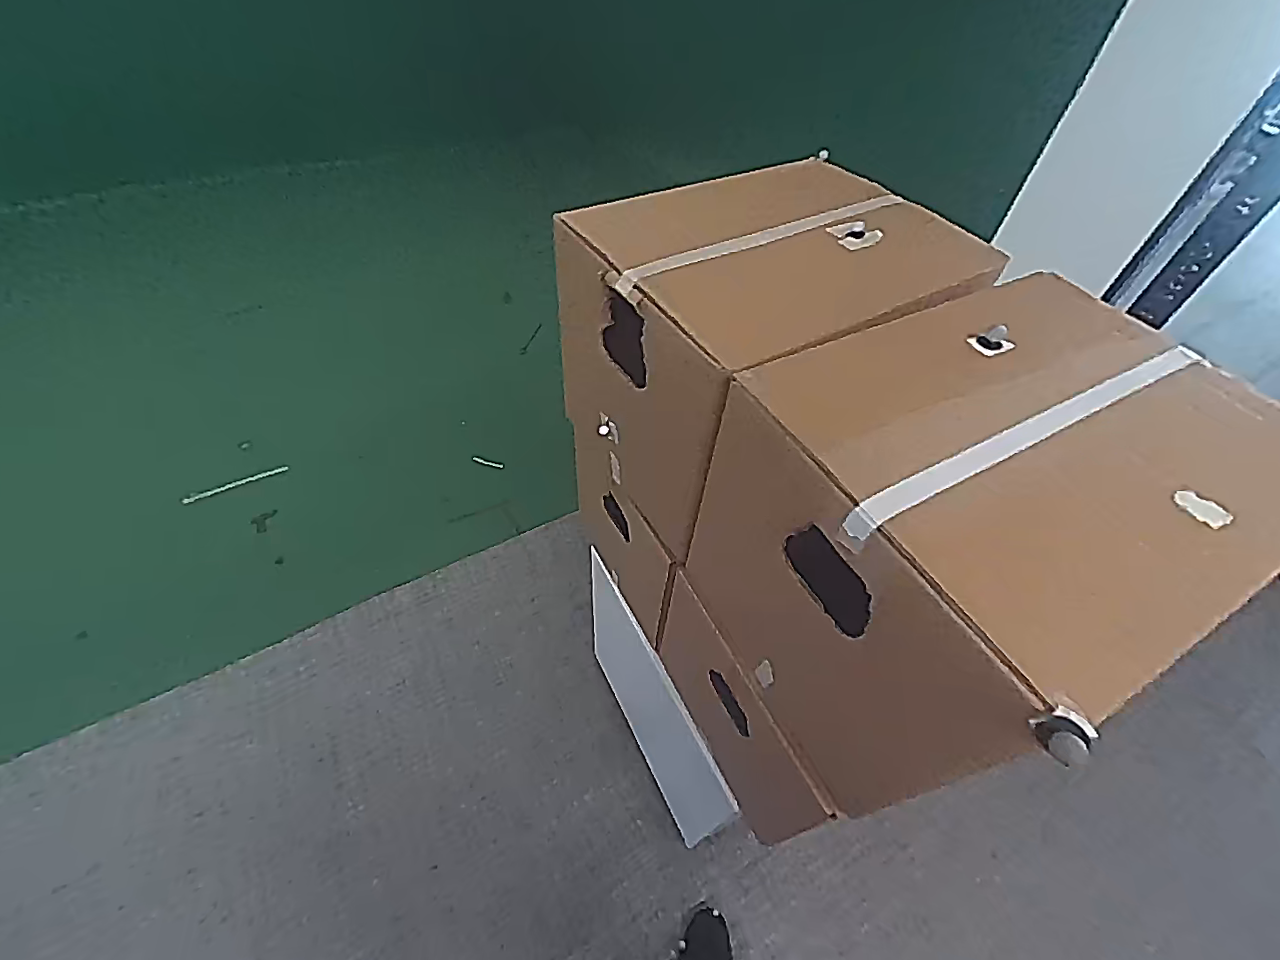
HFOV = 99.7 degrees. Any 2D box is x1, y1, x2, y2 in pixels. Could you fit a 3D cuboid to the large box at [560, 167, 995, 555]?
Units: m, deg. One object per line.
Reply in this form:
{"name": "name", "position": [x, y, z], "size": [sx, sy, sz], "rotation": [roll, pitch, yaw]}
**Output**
{"name": "large box", "position": [0.144, -0.170, 0.717], "size": [0.408, 0.320, 0.320], "rotation": [-24, 56, -23]}
